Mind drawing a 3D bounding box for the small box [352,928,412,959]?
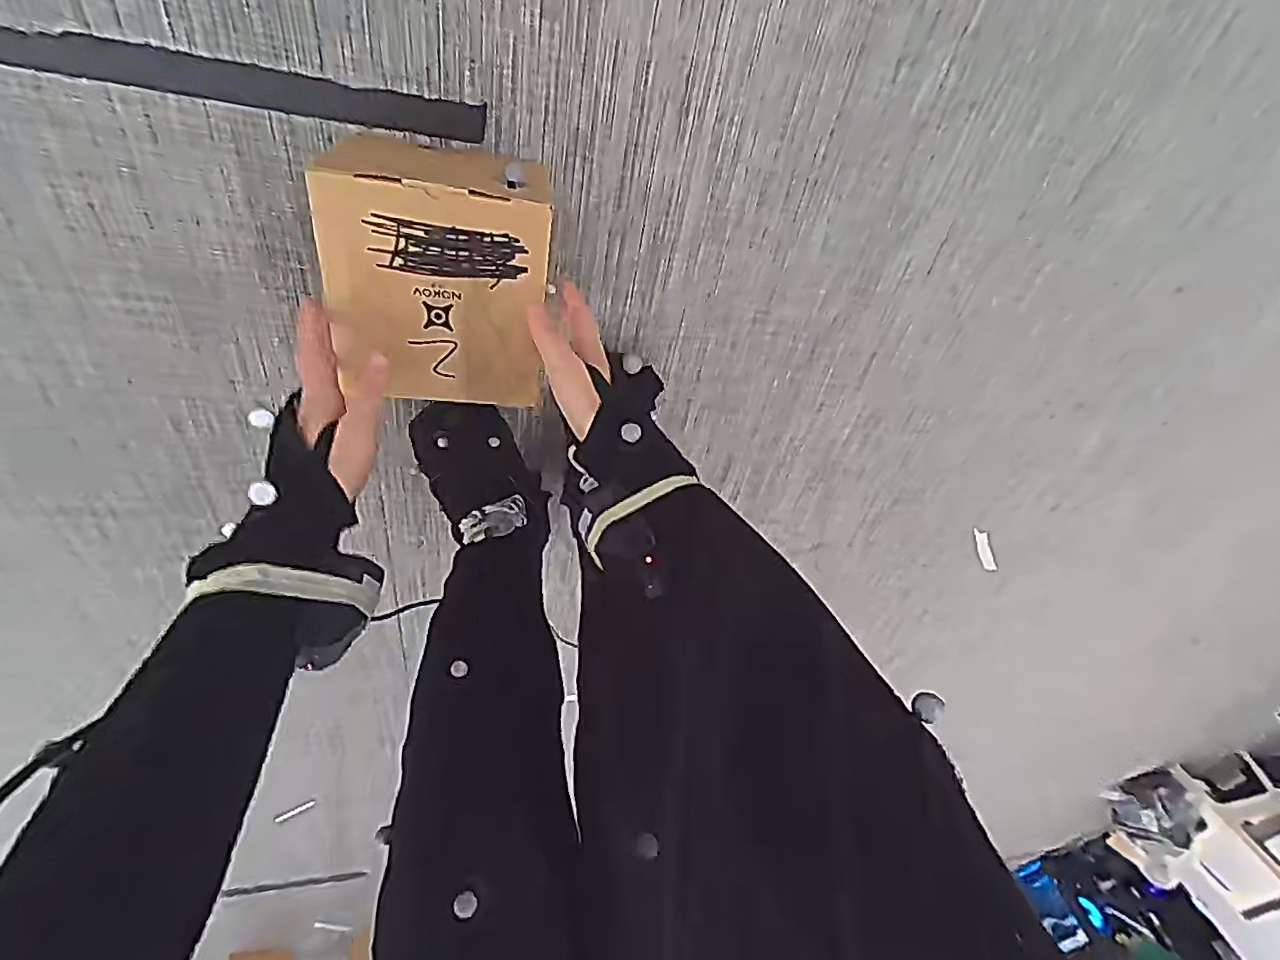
[{"bbox_3d":[-0.870,1.631,1.801,0.179,0.176,0.168,6,127,-17],"label":"small box"}]

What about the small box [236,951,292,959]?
[{"bbox_3d":[-1.242,1.639,1.721,0.179,0.176,0.168,16,123,-26],"label":"small box"}]
